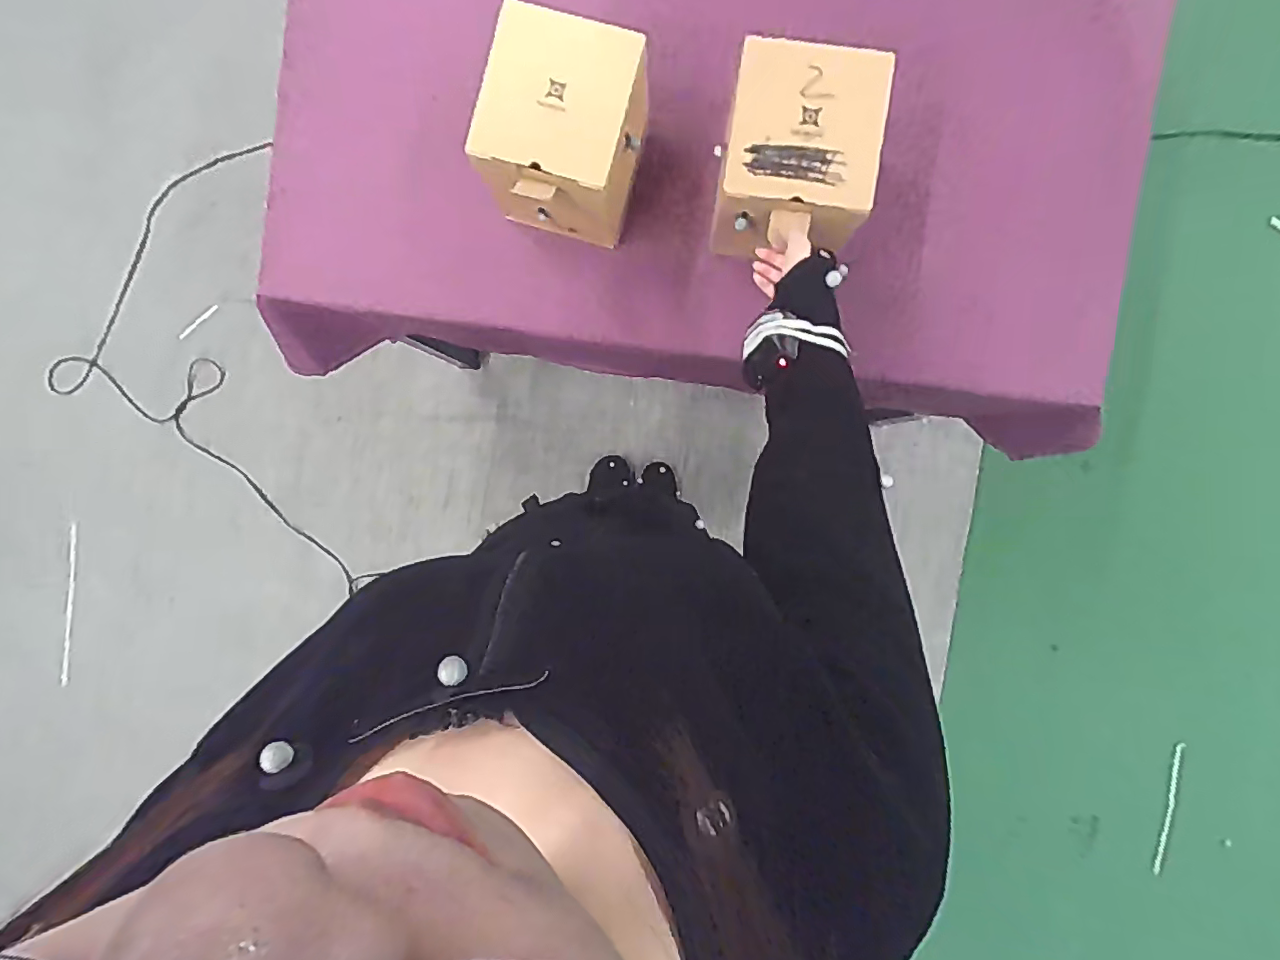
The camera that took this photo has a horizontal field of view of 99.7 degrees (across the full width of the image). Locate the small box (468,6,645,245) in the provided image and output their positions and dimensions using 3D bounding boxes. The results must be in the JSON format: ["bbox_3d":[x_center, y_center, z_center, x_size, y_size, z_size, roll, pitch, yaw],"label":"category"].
[{"bbox_3d":[-0.095,-0.437,0.695,0.168,0.176,0.179,16,94,1],"label":"small box"}]
